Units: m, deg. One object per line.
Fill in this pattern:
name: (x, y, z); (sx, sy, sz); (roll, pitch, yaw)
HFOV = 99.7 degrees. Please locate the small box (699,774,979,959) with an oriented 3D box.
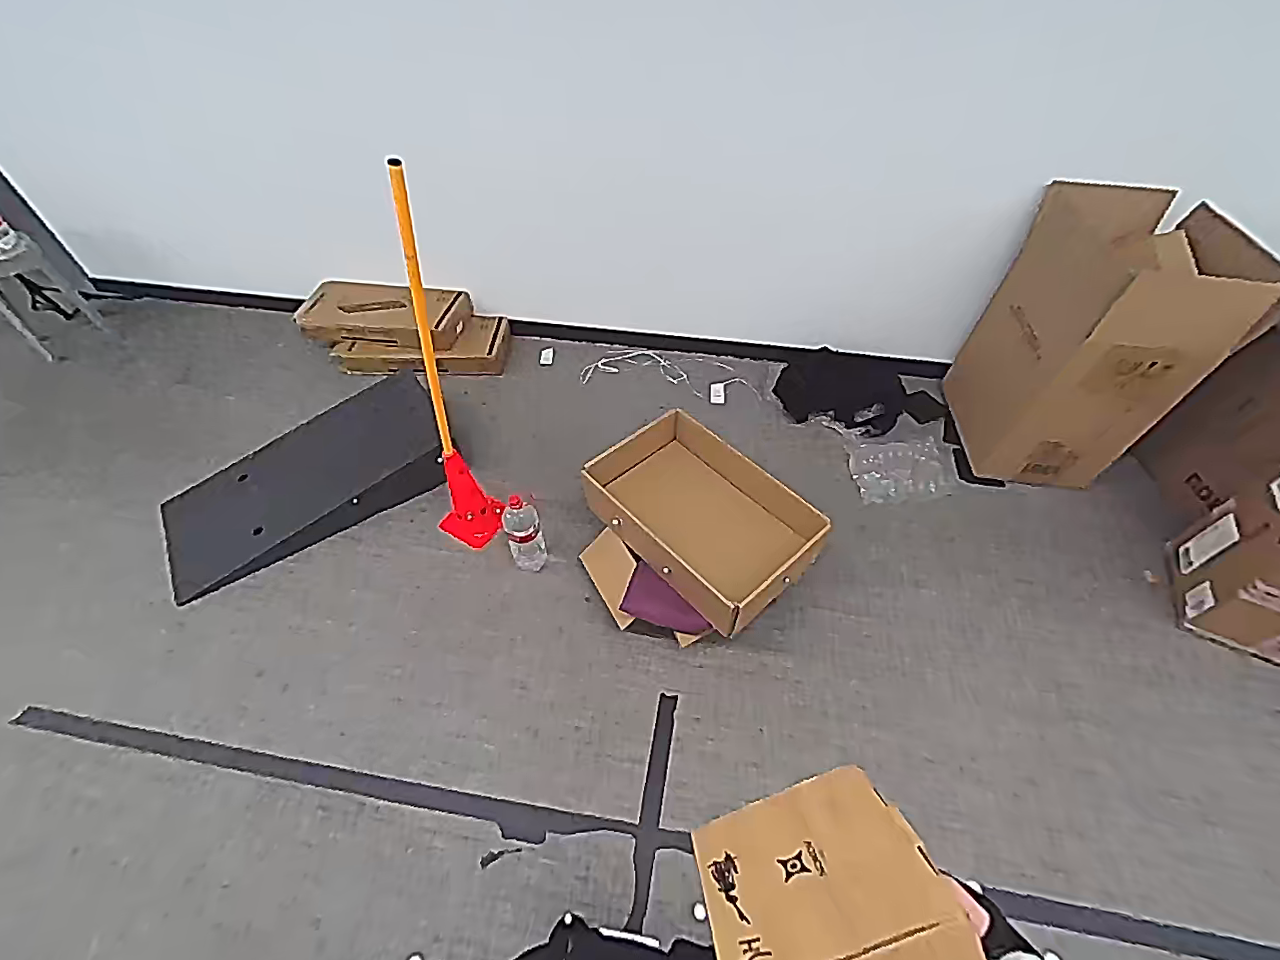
small box: (0.169, 0.401, 0.459); (0.179, 0.168, 0.176); (-20, 94, -2)
